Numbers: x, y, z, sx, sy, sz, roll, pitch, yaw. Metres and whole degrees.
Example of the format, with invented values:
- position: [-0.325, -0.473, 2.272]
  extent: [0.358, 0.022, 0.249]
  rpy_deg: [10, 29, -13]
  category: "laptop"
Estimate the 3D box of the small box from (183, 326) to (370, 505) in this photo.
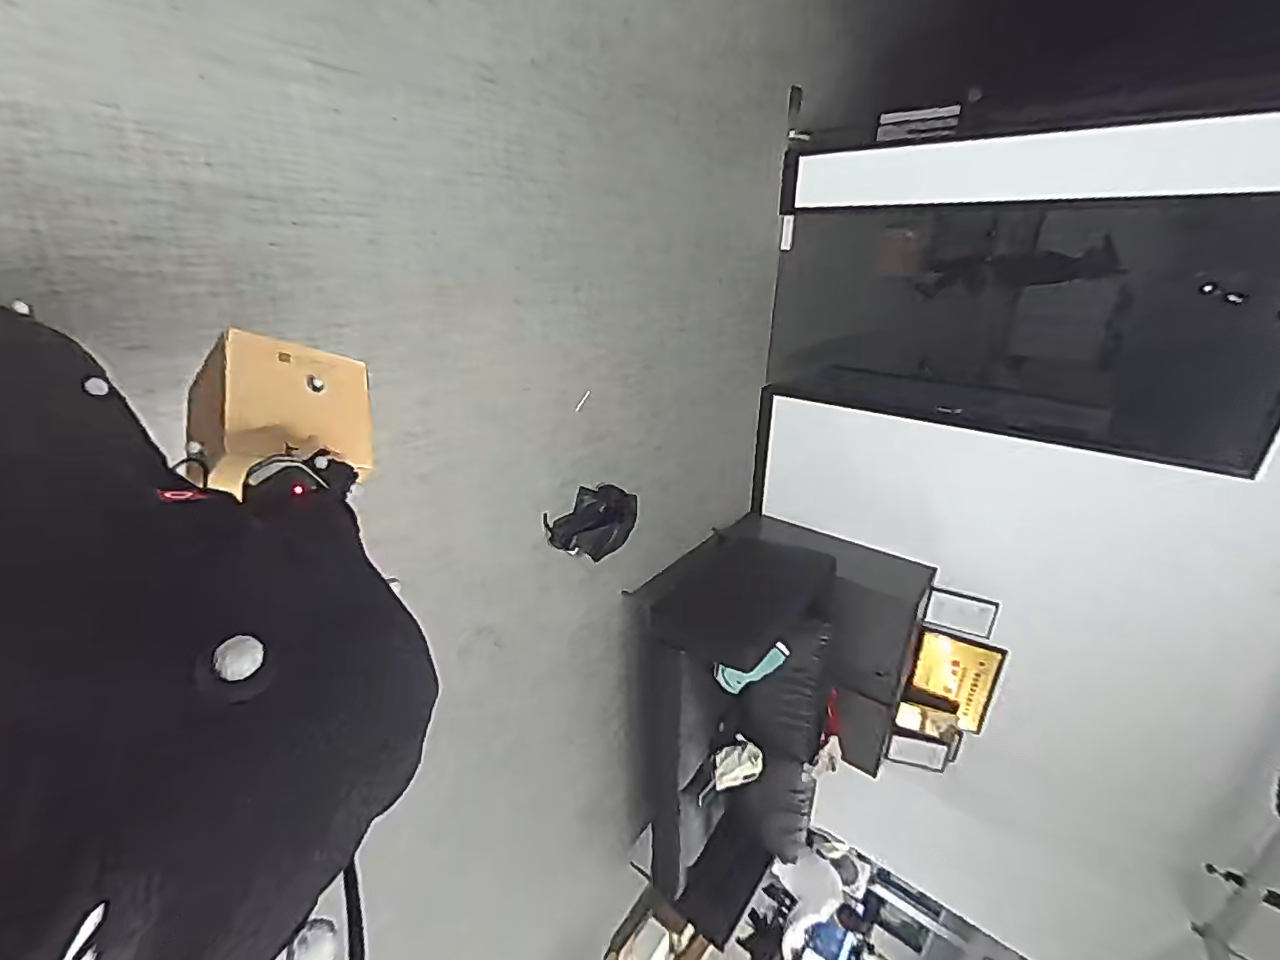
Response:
- position: [-0.488, -0.076, 0.731]
  extent: [0.168, 0.179, 0.176]
  rpy_deg: [8, 64, -51]
  category: "small box"
